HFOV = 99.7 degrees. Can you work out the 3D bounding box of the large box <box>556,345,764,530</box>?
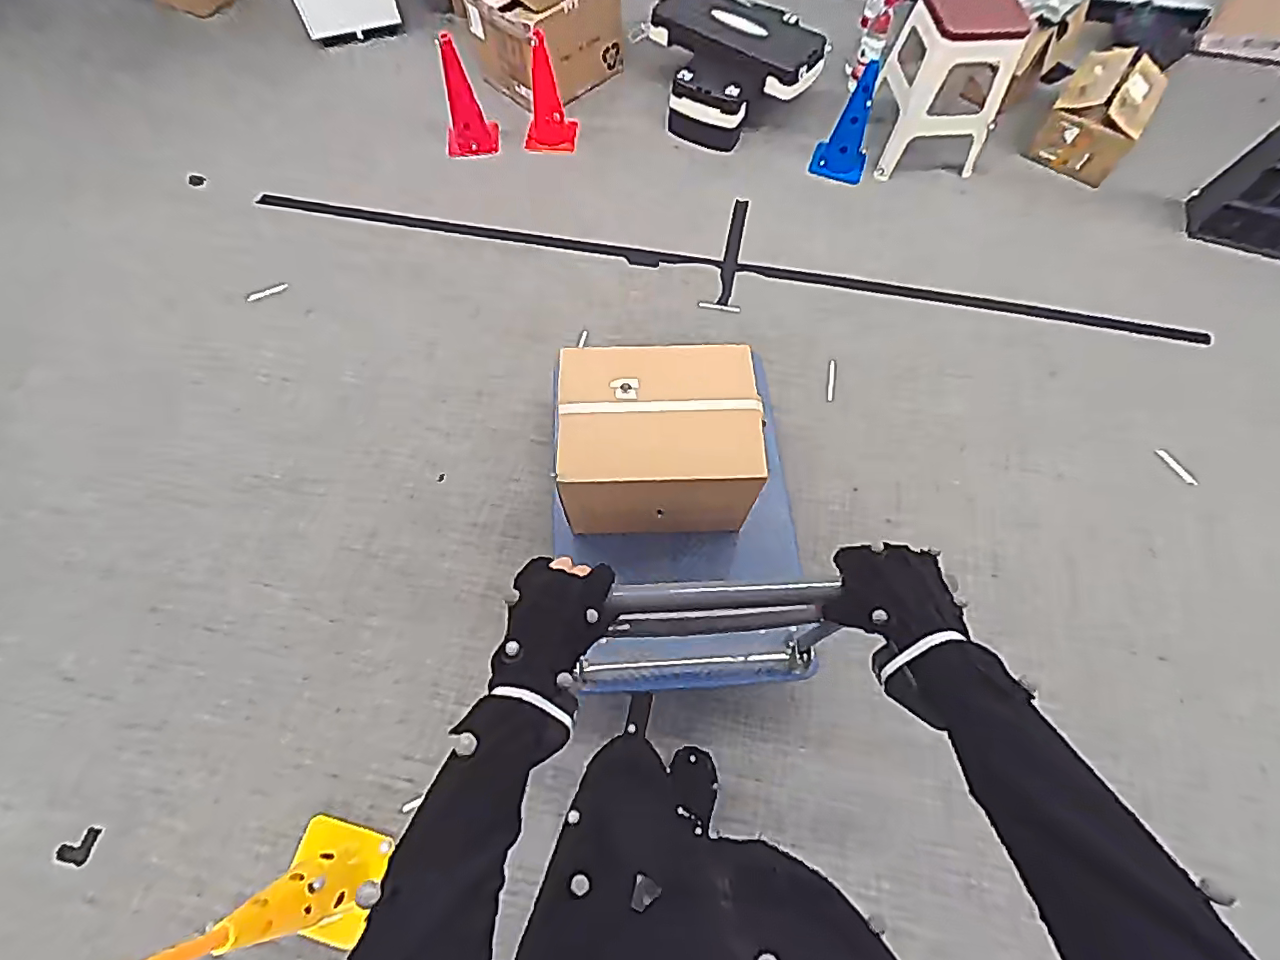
[{"bbox_3d":[0.035,-0.082,1.225,0.408,0.320,0.320,-2,66,0],"label":"large box"}]
